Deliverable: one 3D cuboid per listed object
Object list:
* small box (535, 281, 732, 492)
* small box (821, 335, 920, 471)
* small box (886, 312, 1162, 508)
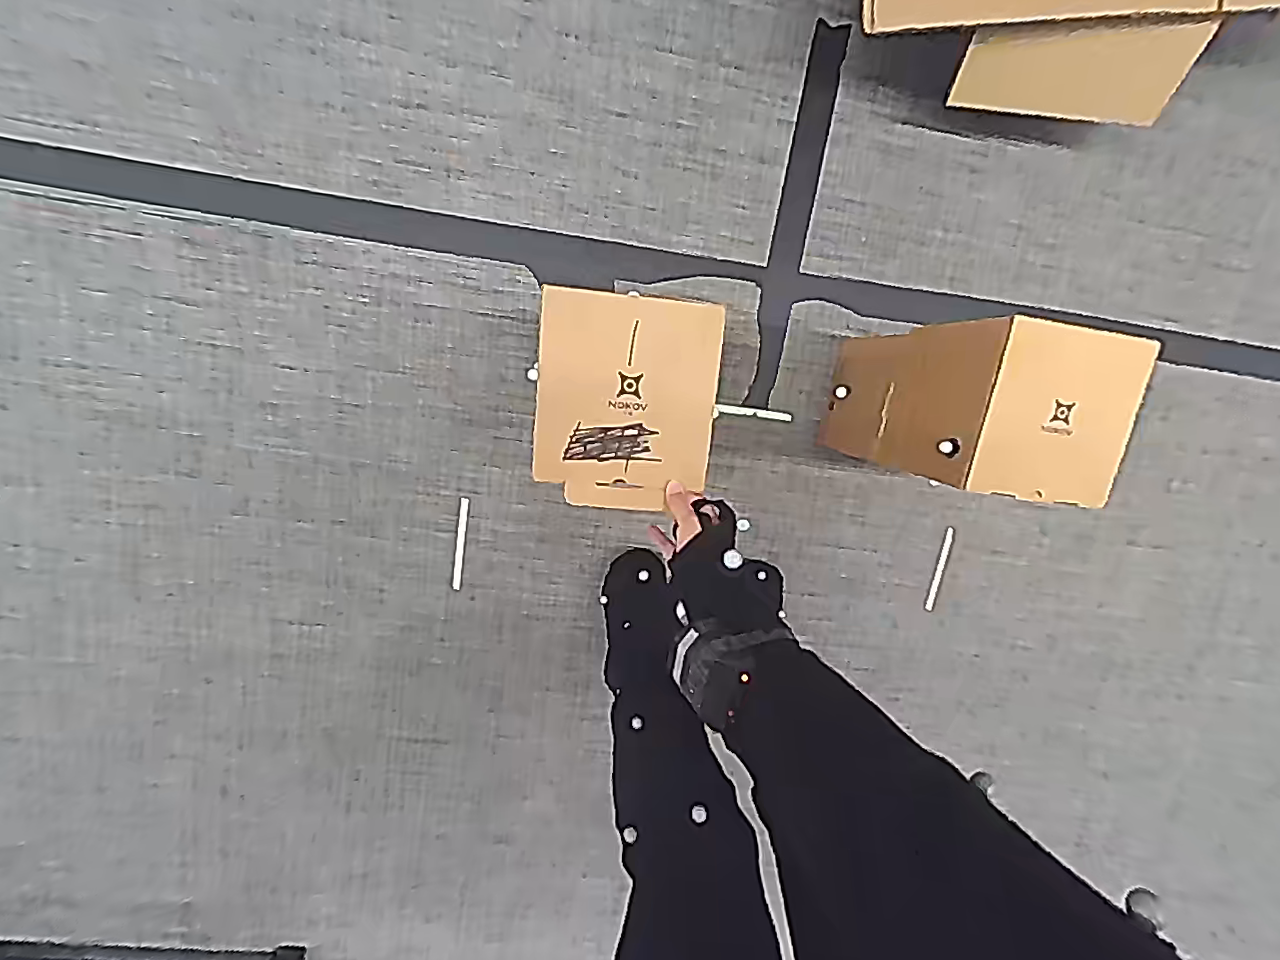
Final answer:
[{"bbox_3d":[-0.014,-0.096,0.564,0.168,0.176,0.179,4,101,-7],"label":"small box"},{"bbox_3d":[0.392,-0.106,0.772,0.179,0.176,0.168,12,101,-9],"label":"small box"},{"bbox_3d":[0.411,-0.082,0.612,0.168,0.176,0.179,7,103,-8],"label":"small box"}]
